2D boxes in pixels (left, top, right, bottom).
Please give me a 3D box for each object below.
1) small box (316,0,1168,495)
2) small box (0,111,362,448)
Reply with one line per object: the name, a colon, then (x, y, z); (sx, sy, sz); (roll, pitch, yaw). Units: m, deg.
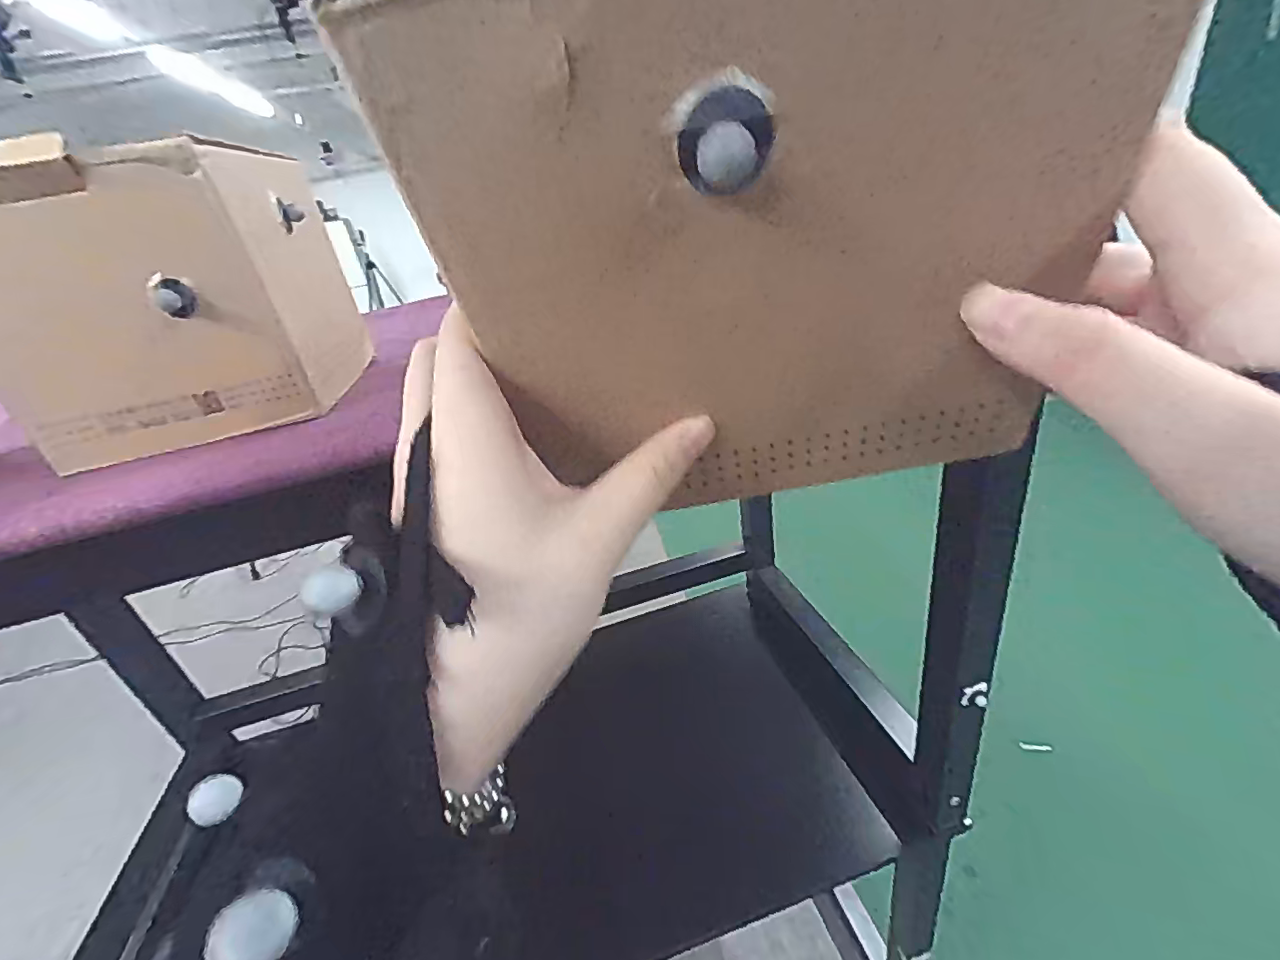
small box: (0.035, -0.112, 0.195); (0.179, 0.176, 0.168); (-10, 48, 7)
small box: (-0.322, -0.133, 0.379); (0.168, 0.176, 0.179); (-14, 28, -8)
